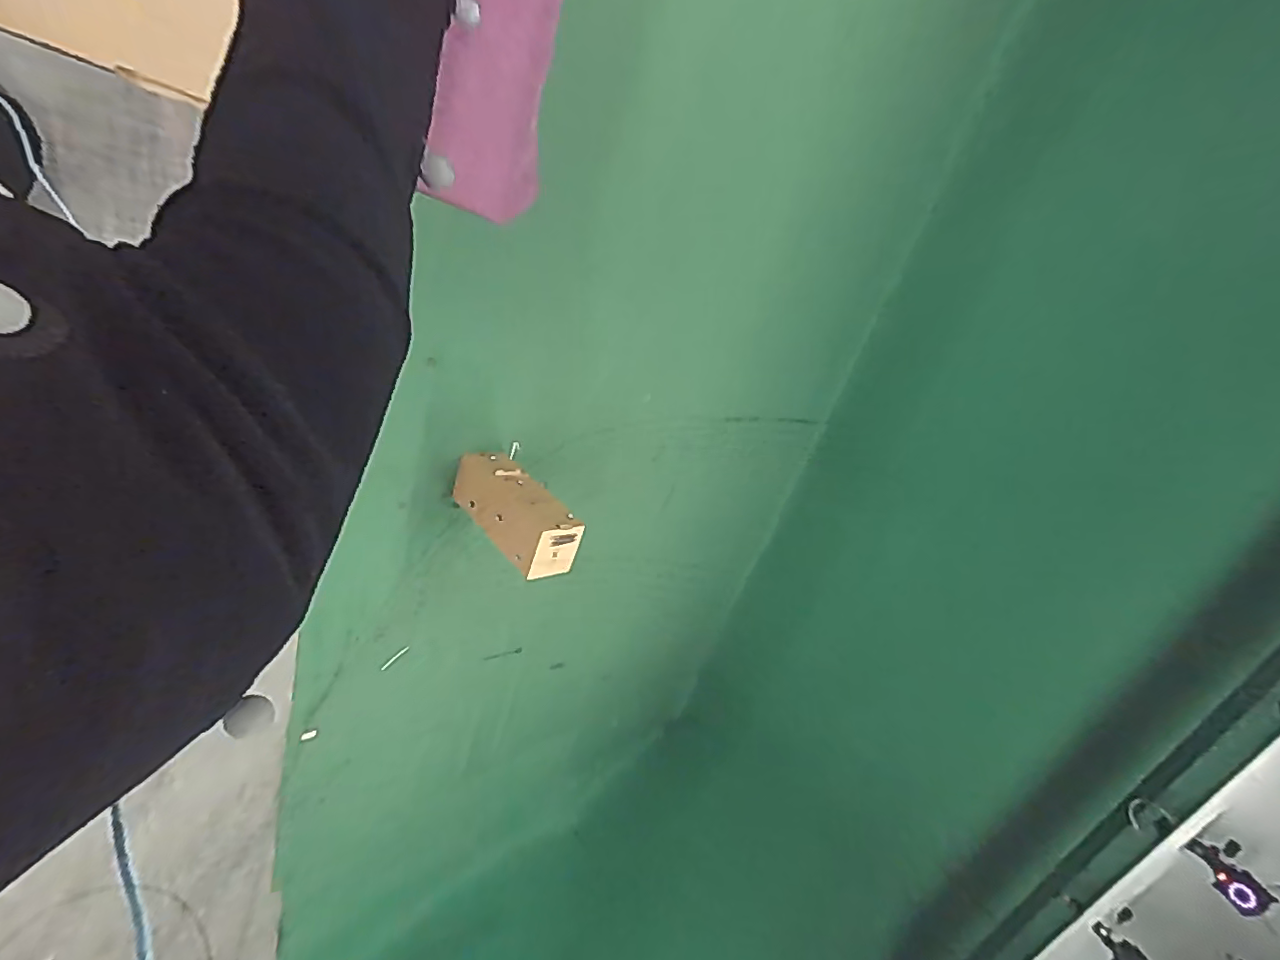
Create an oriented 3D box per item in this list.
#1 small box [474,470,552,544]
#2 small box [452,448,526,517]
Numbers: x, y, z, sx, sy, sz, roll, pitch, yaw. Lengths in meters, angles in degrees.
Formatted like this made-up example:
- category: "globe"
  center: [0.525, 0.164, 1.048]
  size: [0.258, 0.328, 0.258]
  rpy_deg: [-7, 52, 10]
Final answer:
- category: "small box"
  center: [-0.420, 0.084, 1.766]
  size: [0.168, 0.176, 0.179]
  rpy_deg: [-3, 121, -49]
- category: "small box"
  center: [-0.525, 0.004, 1.862]
  size: [0.168, 0.176, 0.179]
  rpy_deg: [-5, 123, -49]
